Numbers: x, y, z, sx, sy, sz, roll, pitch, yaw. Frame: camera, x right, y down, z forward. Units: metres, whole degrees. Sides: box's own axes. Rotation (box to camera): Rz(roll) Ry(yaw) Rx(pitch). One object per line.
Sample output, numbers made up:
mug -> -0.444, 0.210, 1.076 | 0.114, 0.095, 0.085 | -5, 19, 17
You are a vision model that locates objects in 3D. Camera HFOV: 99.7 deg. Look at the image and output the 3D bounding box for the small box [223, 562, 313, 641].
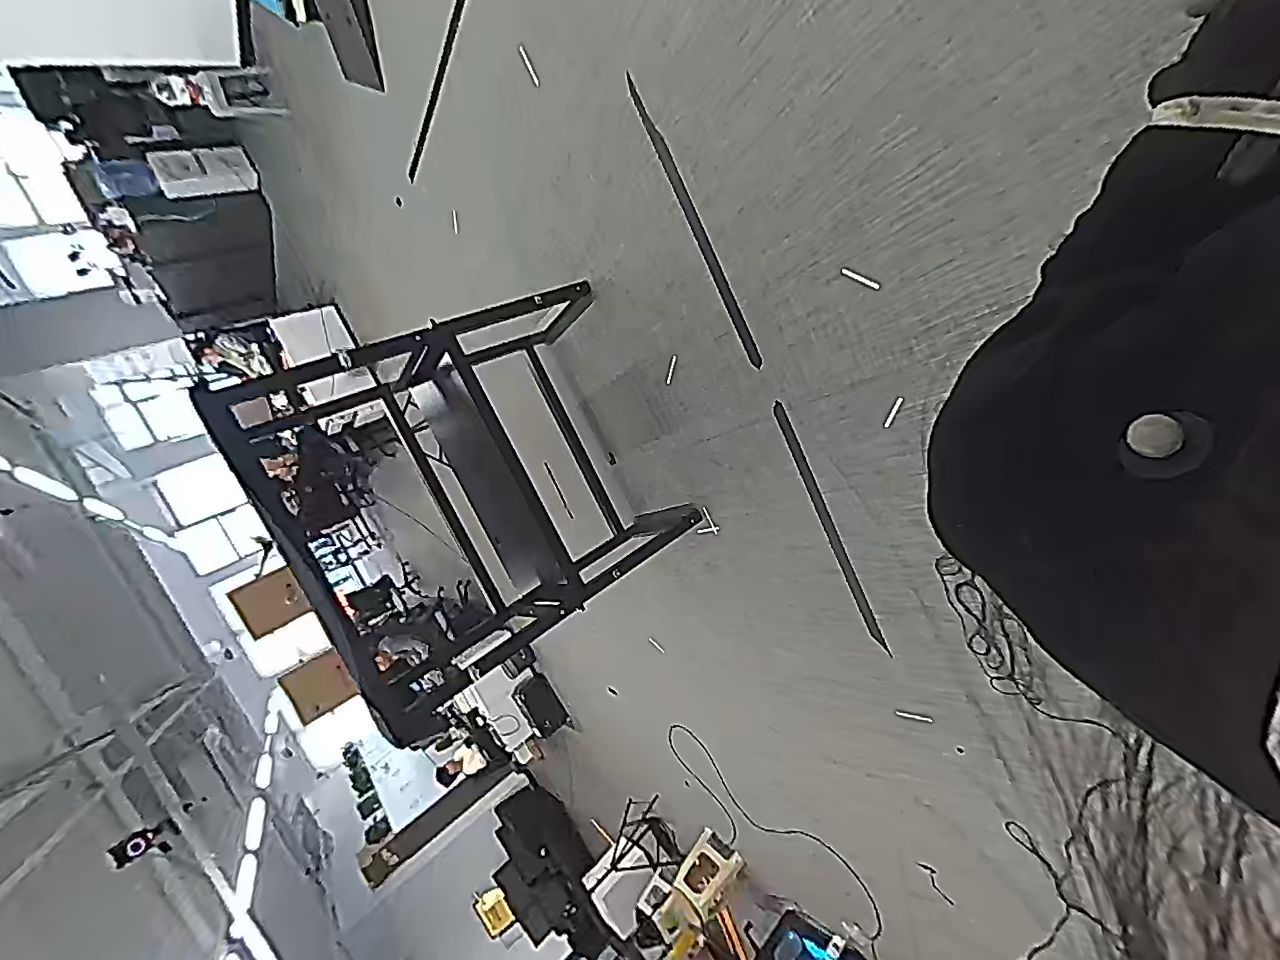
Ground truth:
small box -> -1.118, 0.359, 1.636 | 0.179, 0.176, 0.168 | -12, 106, 56
